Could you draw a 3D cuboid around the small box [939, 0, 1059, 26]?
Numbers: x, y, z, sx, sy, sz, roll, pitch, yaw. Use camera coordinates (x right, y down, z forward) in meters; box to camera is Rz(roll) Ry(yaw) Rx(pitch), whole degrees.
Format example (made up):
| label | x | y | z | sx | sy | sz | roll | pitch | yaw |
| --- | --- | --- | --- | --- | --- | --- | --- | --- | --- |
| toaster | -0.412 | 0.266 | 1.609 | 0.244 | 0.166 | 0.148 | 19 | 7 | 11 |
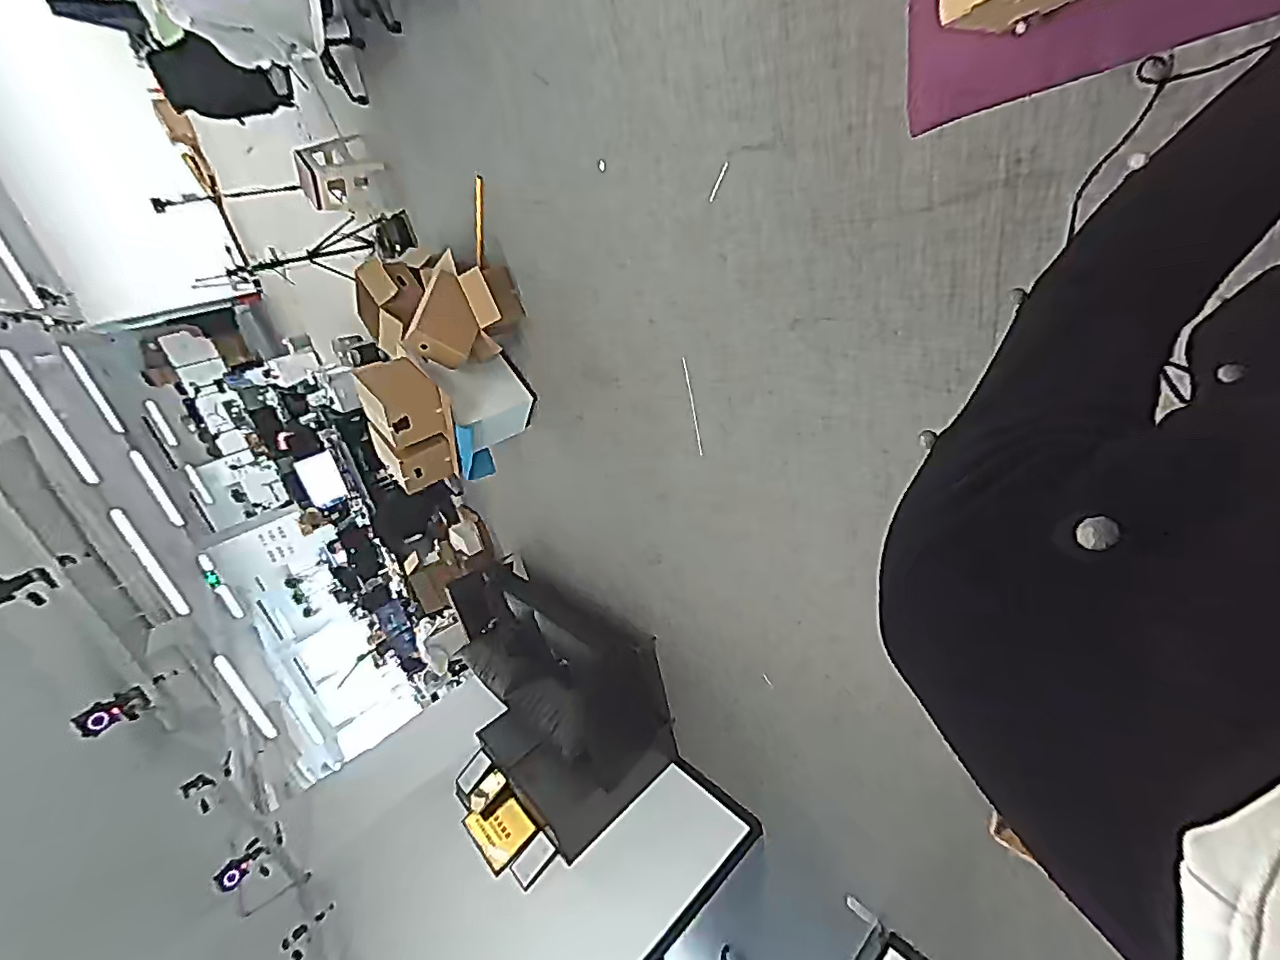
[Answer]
| label | x | y | z | sx | sy | sz | roll | pitch | yaw |
| --- | --- | --- | --- | --- | --- | --- | --- | --- | --- |
| small box | 0.400 | -0.570 | 0.509 | 0.168 | 0.176 | 0.179 | 11 | 122 | 50 |
